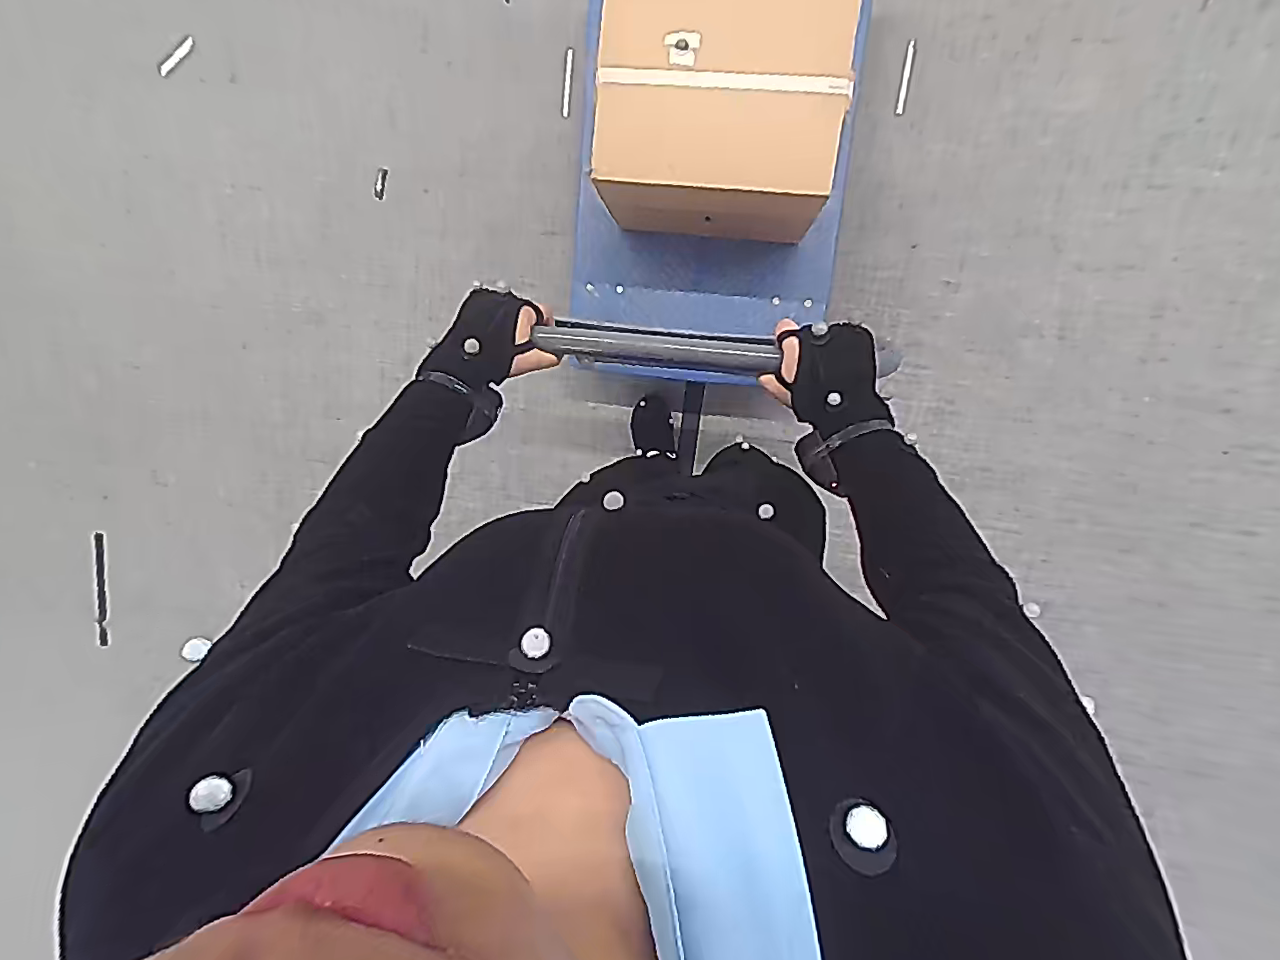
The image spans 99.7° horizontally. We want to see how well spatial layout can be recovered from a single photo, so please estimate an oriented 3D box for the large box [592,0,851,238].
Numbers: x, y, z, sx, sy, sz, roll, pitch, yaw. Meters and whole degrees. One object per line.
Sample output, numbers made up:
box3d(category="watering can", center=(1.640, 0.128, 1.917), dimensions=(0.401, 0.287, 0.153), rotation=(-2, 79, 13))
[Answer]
box3d(category="large box", center=(0.146, -0.670, 1.035), dimensions=(0.408, 0.320, 0.320), rotation=(7, 100, 7))
